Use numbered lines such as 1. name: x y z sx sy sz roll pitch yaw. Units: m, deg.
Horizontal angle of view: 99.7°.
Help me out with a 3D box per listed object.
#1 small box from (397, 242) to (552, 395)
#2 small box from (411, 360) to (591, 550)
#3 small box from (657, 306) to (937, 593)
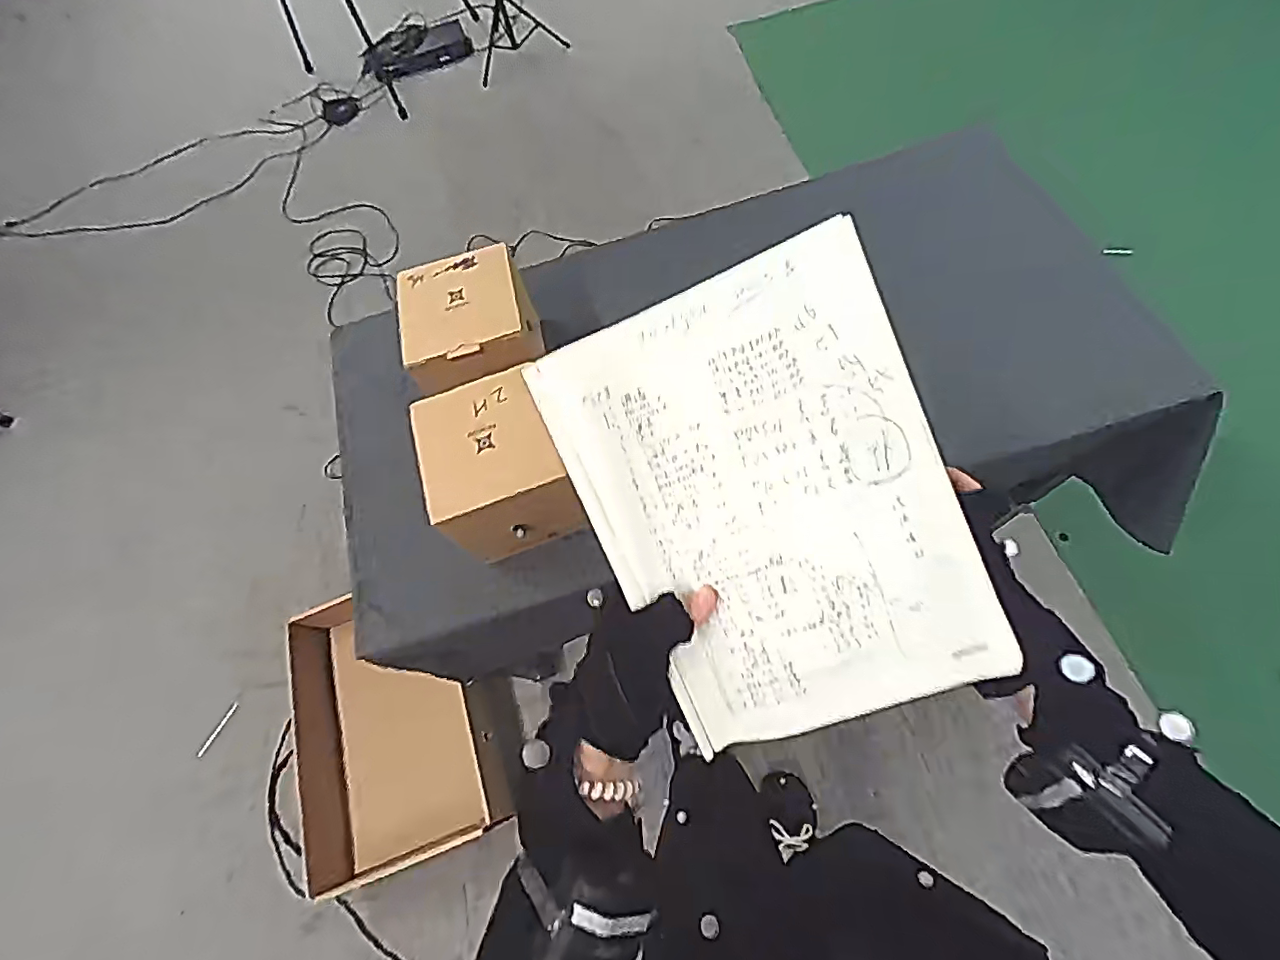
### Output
1. small box: -0.241 -0.214 0.816 0.168 0.176 0.179 -16 66 1
2. small box: -0.175 -0.020 0.716 0.168 0.176 0.179 -20 64 -1
3. small box: 0.115 -0.013 0.464 0.168 0.176 0.179 -12 69 5
